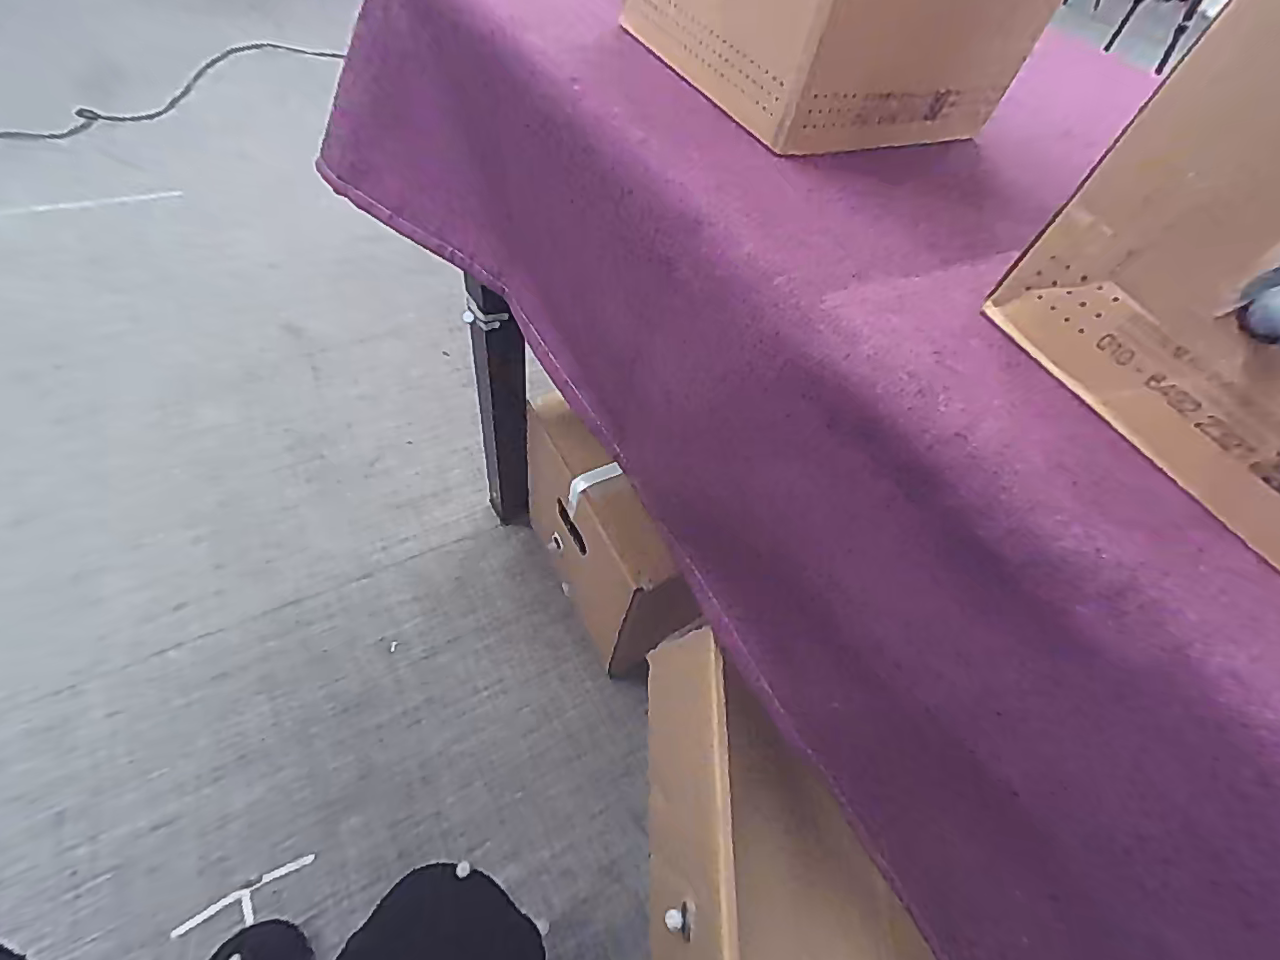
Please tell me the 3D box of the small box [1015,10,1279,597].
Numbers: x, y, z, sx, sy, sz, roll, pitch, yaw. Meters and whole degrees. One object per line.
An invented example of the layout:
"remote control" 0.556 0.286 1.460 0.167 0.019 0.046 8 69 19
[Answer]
"small box" 0.262 -0.069 0.146 0.179 0.176 0.168 -16 59 -20
